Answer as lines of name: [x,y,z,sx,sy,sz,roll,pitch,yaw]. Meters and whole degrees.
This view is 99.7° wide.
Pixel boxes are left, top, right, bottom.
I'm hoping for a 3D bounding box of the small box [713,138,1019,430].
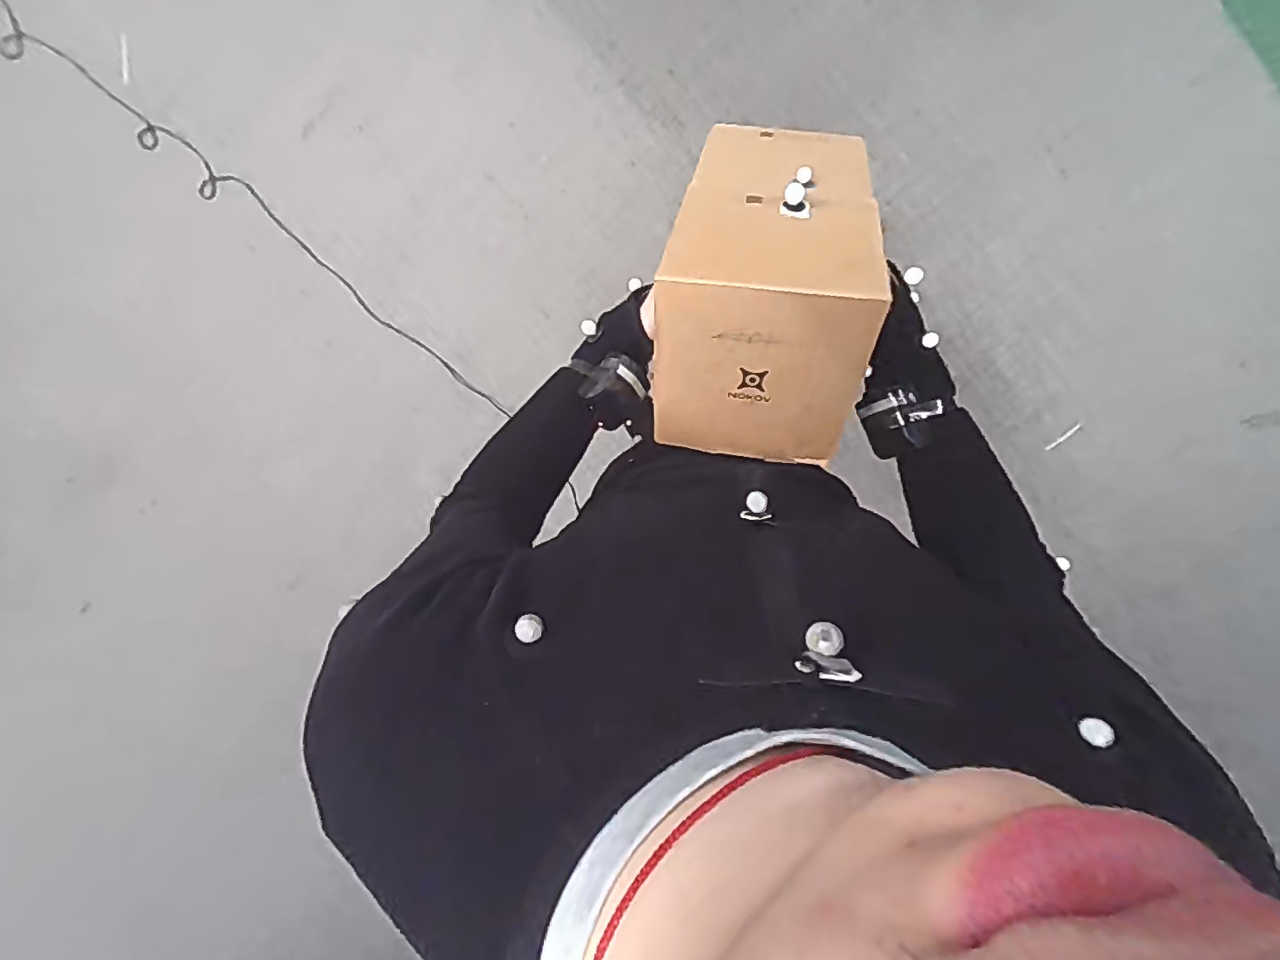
small box: [0.197,-0.182,0.507,0.179,0.168,0.176,20,124,-20]
